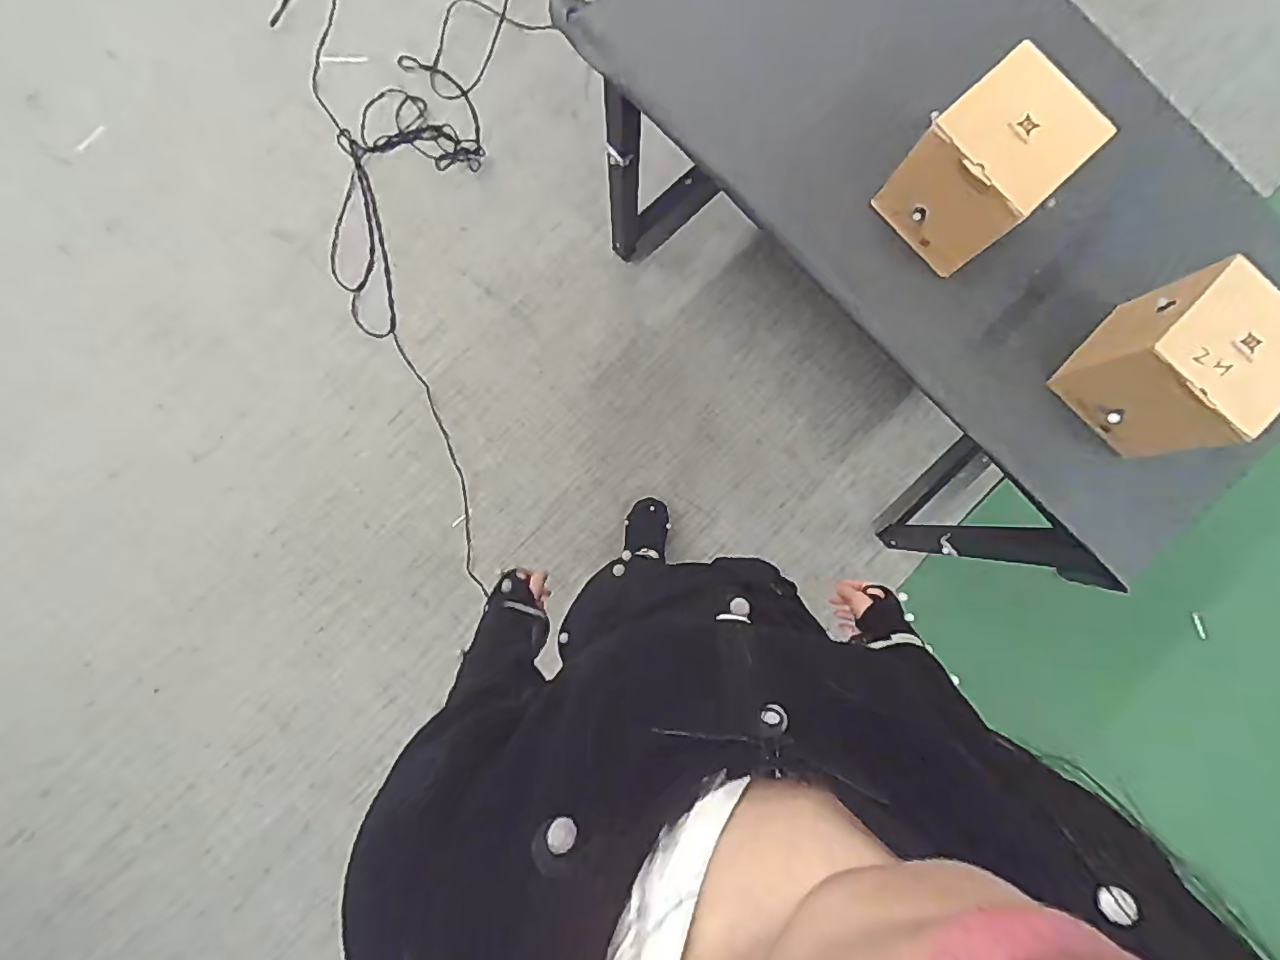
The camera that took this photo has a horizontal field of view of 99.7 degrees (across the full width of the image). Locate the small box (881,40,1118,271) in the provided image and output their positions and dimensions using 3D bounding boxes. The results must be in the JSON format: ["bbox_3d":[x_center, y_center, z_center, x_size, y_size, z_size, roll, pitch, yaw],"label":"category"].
[{"bbox_3d":[0.478,-0.433,0.750,0.179,0.176,0.168,-43,88,-4],"label":"small box"}]

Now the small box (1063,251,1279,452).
[{"bbox_3d":[0.739,-0.160,0.731,0.179,0.176,0.168,-45,87,-4],"label":"small box"}]
